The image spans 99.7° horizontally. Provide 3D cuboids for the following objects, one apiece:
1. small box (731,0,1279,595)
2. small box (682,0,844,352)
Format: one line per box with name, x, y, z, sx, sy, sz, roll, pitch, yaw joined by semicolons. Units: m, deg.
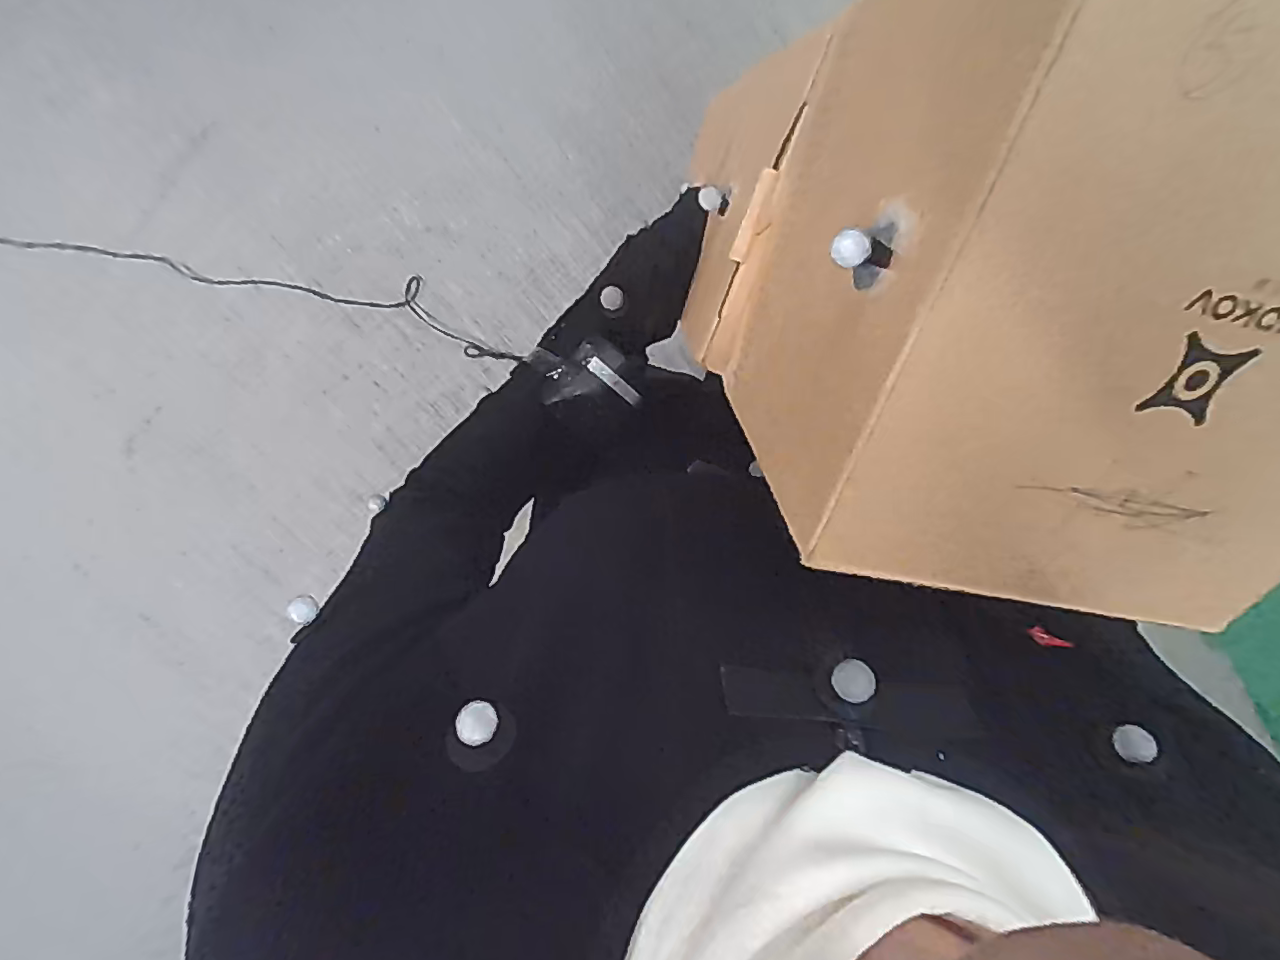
small box;0.146;-0.085;0.213;0.168;0.176;0.179;10;120;-8
small box;0.136;-0.166;0.358;0.179;0.176;0.168;11;117;-10
